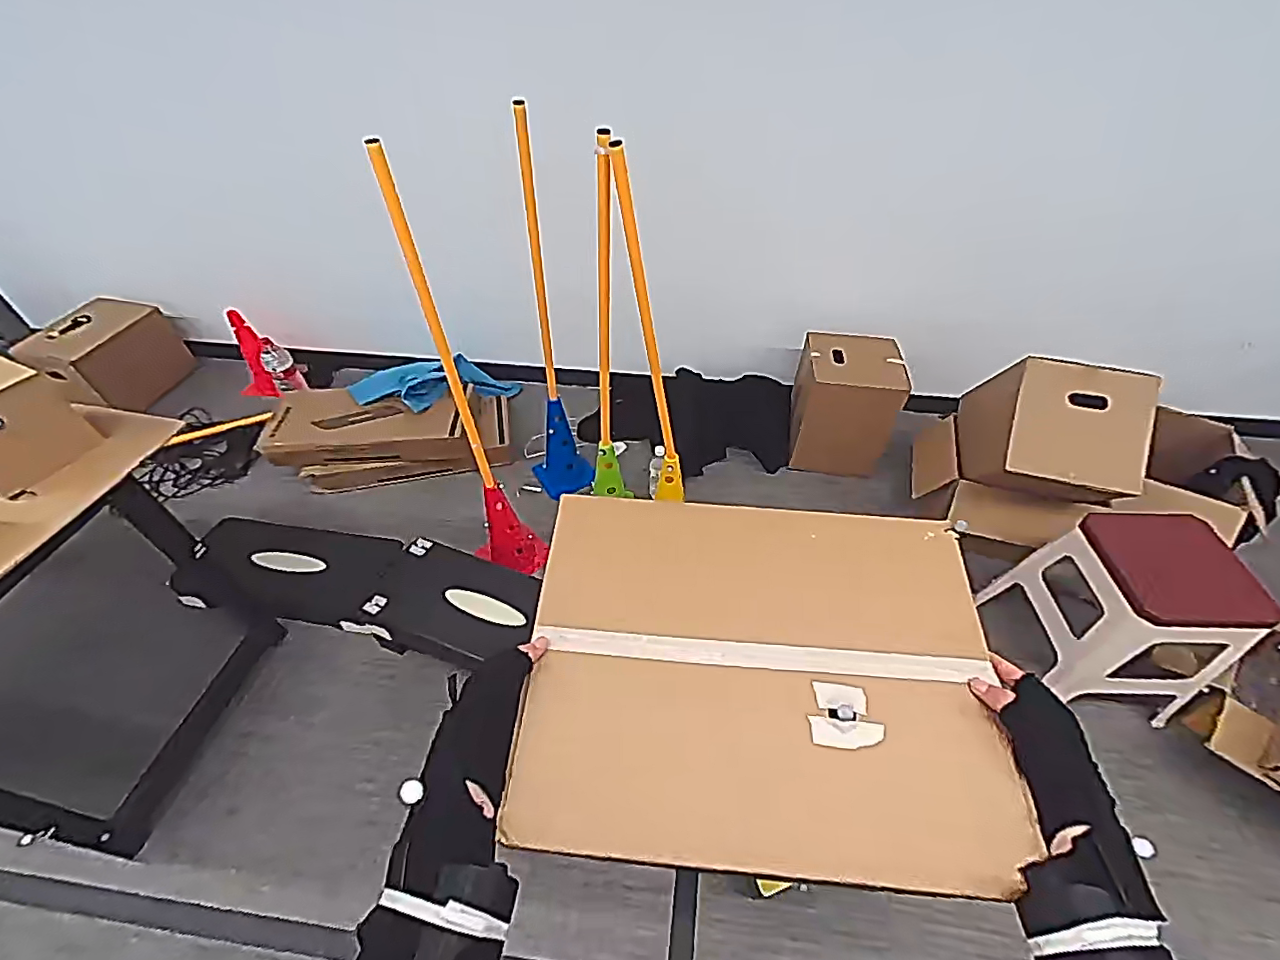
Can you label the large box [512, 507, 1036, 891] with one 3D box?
[{"bbox_3d":[0.107,0.251,0.612,0.408,0.320,0.320,4,56,3],"label":"large box"}]
